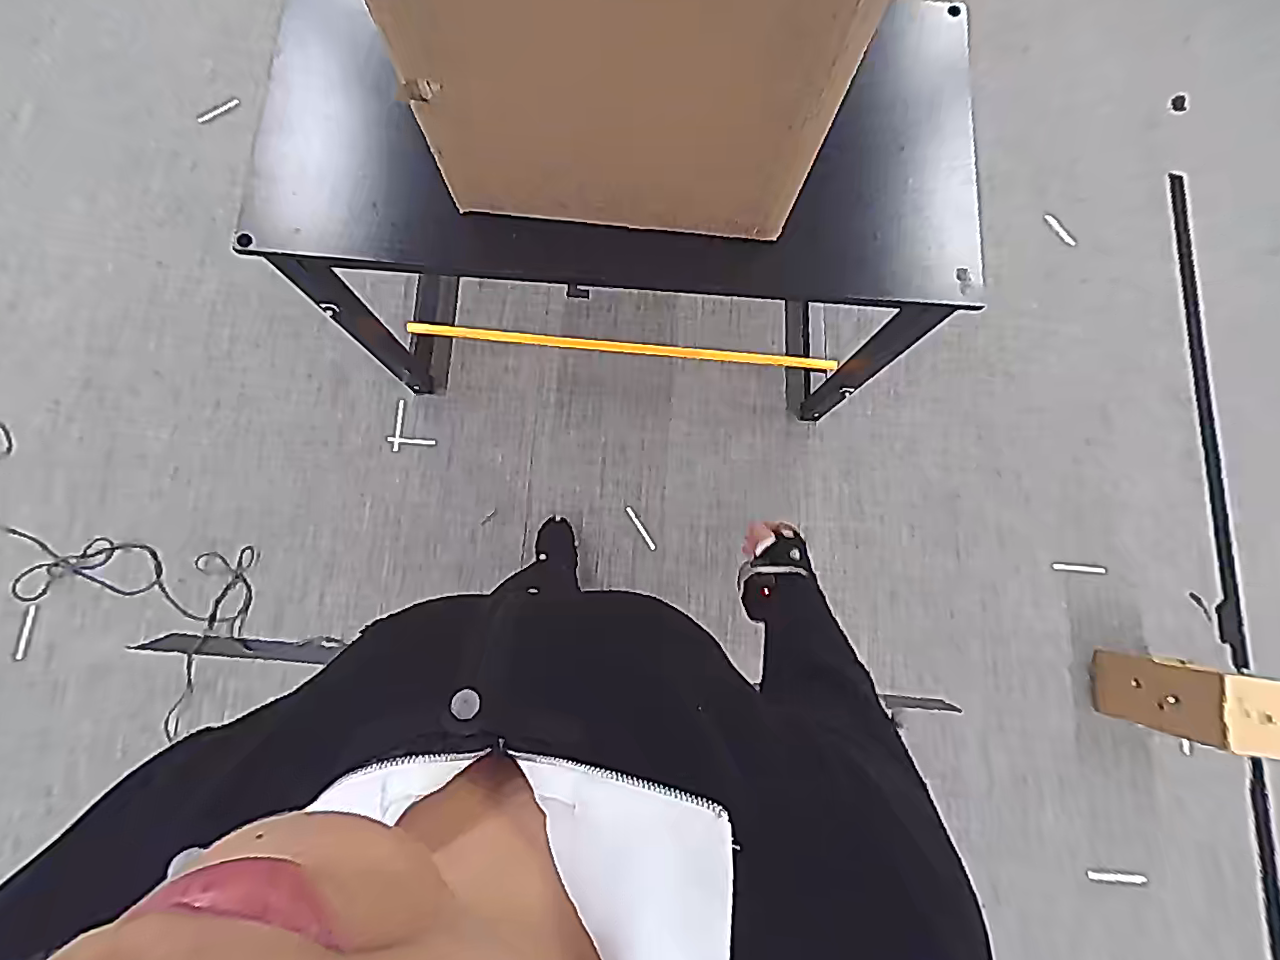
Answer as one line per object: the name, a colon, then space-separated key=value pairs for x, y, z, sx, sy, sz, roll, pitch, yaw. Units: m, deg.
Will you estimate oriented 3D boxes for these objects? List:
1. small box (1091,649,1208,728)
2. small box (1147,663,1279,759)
small box: x=1.344 y=0.554 z=1.433 sx=0.168 sy=0.176 sz=0.179 roll=8 pitch=81 yaw=-1
small box: x=1.355 y=0.534 z=1.270 sx=0.179 sy=0.176 sz=0.168 roll=8 pitch=80 yaw=-1
